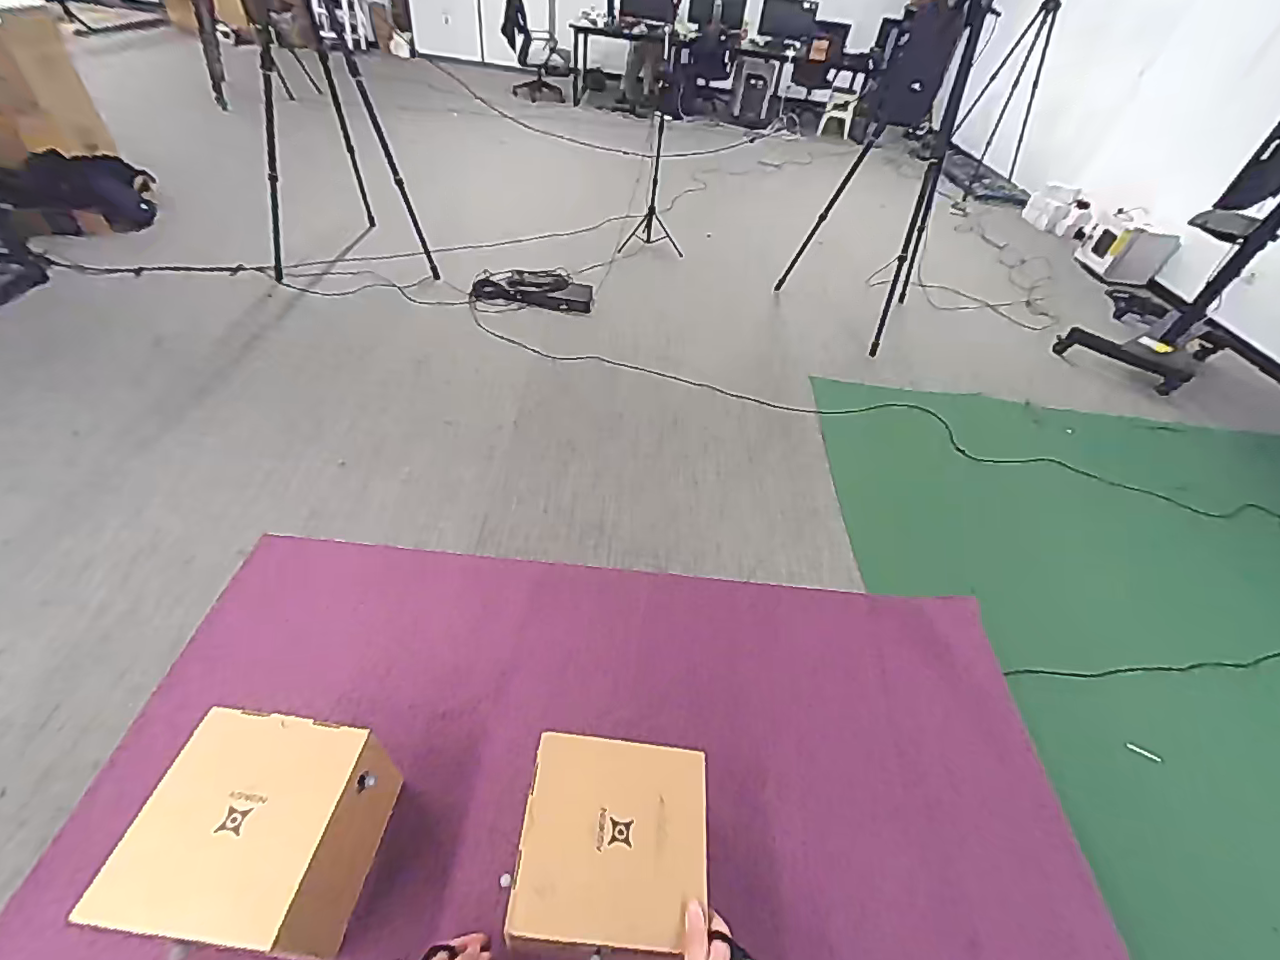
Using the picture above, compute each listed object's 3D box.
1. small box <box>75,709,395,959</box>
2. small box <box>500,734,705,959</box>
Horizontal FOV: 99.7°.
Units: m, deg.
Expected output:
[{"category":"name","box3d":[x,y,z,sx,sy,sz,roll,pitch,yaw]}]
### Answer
[{"category":"small box","box3d":[-0.374,0.364,0.548,0.168,0.176,0.179,9,43,1]},{"category":"small box","box3d":[-0.036,0.390,0.563,0.179,0.176,0.168,10,45,-3]}]
